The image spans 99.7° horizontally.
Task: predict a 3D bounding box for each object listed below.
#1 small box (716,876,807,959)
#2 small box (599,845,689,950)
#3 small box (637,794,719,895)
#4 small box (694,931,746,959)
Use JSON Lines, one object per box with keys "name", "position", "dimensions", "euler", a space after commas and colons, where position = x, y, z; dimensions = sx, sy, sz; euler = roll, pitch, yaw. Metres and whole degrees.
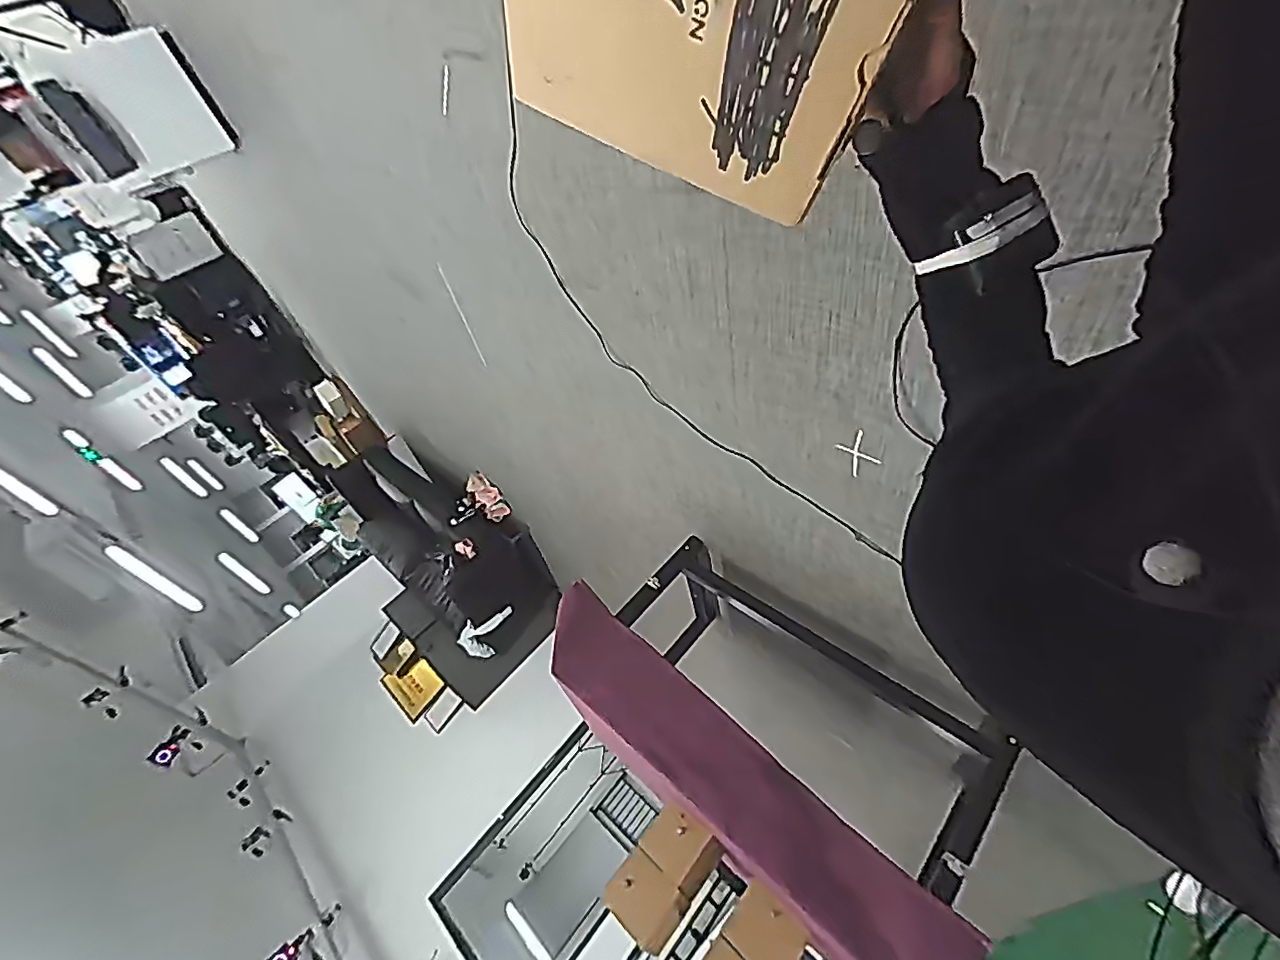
{"name": "small box", "position": [0.335, 1.225, 1.479], "dimensions": [0.179, 0.176, 0.168], "euler": [27, 149, 37]}
{"name": "small box", "position": [0.015, 1.214, 1.587], "dimensions": [0.179, 0.176, 0.168], "euler": [24, 147, 40]}
{"name": "small box", "position": [0.123, 1.115, 1.659], "dimensions": [0.168, 0.176, 0.179], "euler": [23, 145, 41]}
{"name": "small box", "position": [0.224, 1.325, 1.411], "dimensions": [0.179, 0.176, 0.168], "euler": [26, 148, 36]}
